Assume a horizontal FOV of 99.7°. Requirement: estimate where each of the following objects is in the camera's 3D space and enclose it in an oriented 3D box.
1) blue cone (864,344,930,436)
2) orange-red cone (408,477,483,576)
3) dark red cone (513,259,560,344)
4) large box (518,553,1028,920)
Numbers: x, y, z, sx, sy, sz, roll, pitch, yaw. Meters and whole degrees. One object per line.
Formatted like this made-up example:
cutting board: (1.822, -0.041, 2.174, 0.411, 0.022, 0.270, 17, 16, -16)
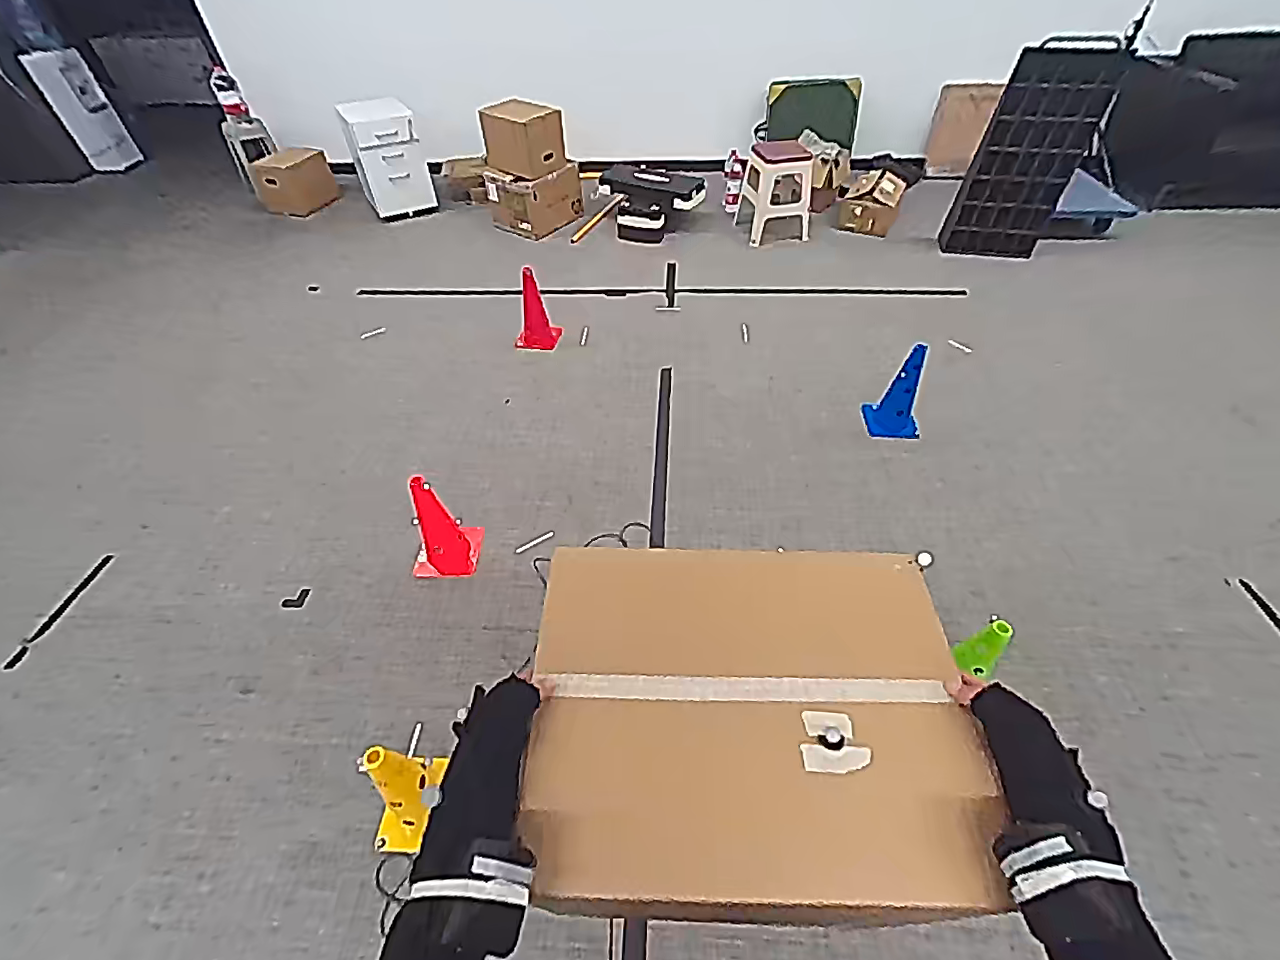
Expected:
blue cone: (1.029, -0.360, 2.105, 0.192, 0.380, 0.193, 4, 48, 4)
orange-red cone: (-0.642, 0.124, 1.685, 0.198, 0.360, 0.199, -1, 48, 2)
dark red cone: (-0.508, -0.841, 2.547, 0.201, 0.394, 0.202, 6, 48, 6)
large box: (0.101, 0.298, 0.622, 0.408, 0.320, 0.320, 1, 49, 0)
